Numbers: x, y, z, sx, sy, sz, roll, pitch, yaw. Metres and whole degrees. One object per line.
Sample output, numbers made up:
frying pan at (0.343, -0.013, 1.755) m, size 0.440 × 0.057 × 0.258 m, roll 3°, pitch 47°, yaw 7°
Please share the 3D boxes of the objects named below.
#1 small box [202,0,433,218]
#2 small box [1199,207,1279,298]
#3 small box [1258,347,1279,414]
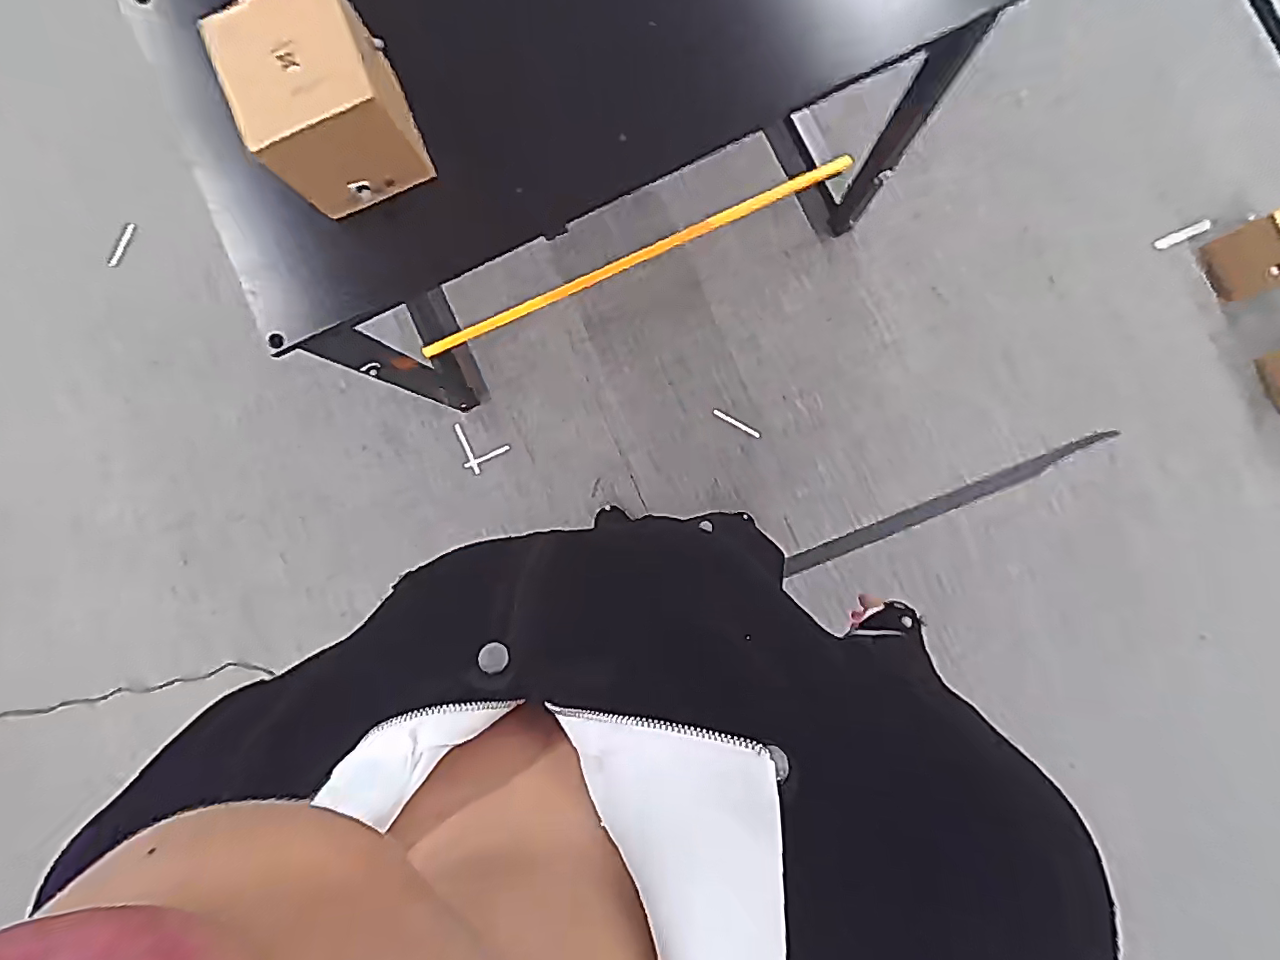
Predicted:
small box at (-0.407, -0.489, 0.712) m, size 0.168 × 0.176 × 0.179 m, roll -23°, pitch 89°, yaw 3°
small box at (1.574, -0.575, 1.340) m, size 0.168 × 0.176 × 0.179 m, roll -26°, pitch 87°, yaw 2°
small box at (1.703, -0.273, 1.331) m, size 0.179 × 0.176 × 0.168 m, roll -22°, pitch 88°, yaw 3°
